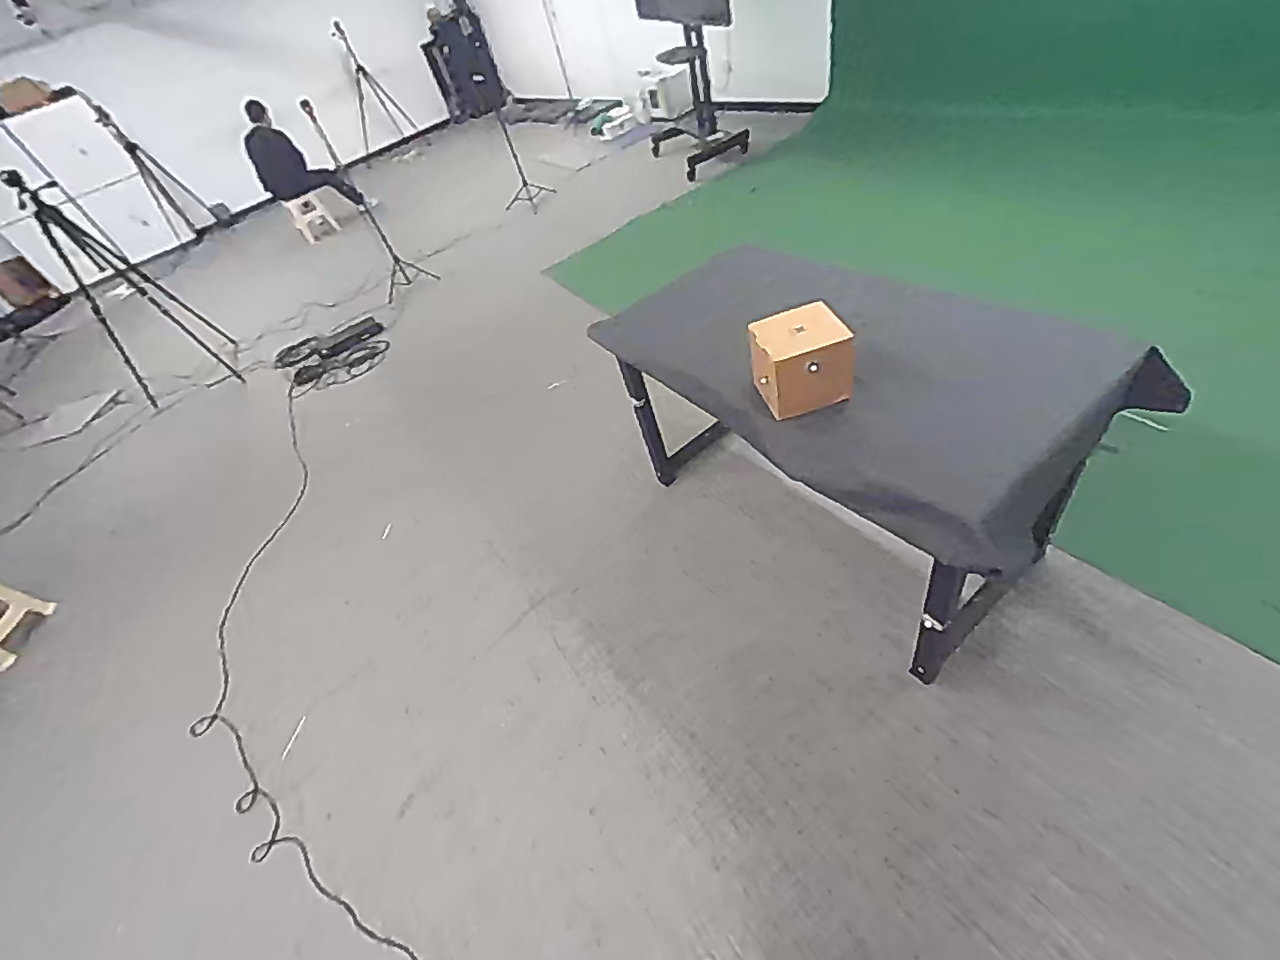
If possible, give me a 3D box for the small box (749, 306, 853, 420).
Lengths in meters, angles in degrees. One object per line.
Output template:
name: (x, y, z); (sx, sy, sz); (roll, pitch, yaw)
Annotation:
small box: (0.362, -0.259, 1.222); (0.179, 0.176, 0.168); (-17, 45, 1)
